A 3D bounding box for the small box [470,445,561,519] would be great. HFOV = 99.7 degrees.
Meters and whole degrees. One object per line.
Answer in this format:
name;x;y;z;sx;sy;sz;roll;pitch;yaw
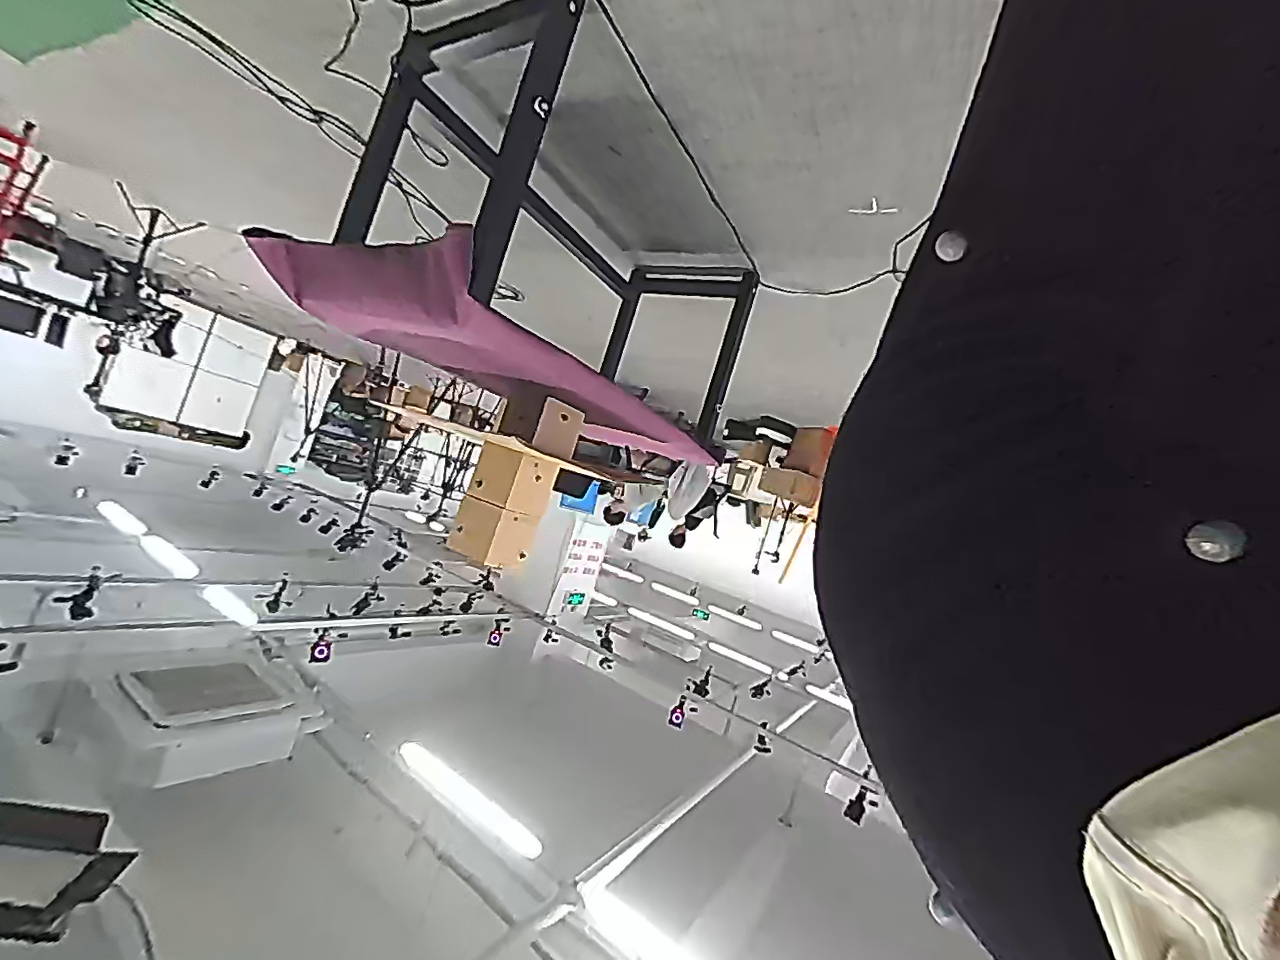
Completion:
small box;-0.366;0.003;1.612;0.179;0.176;0.168;15;175;32
